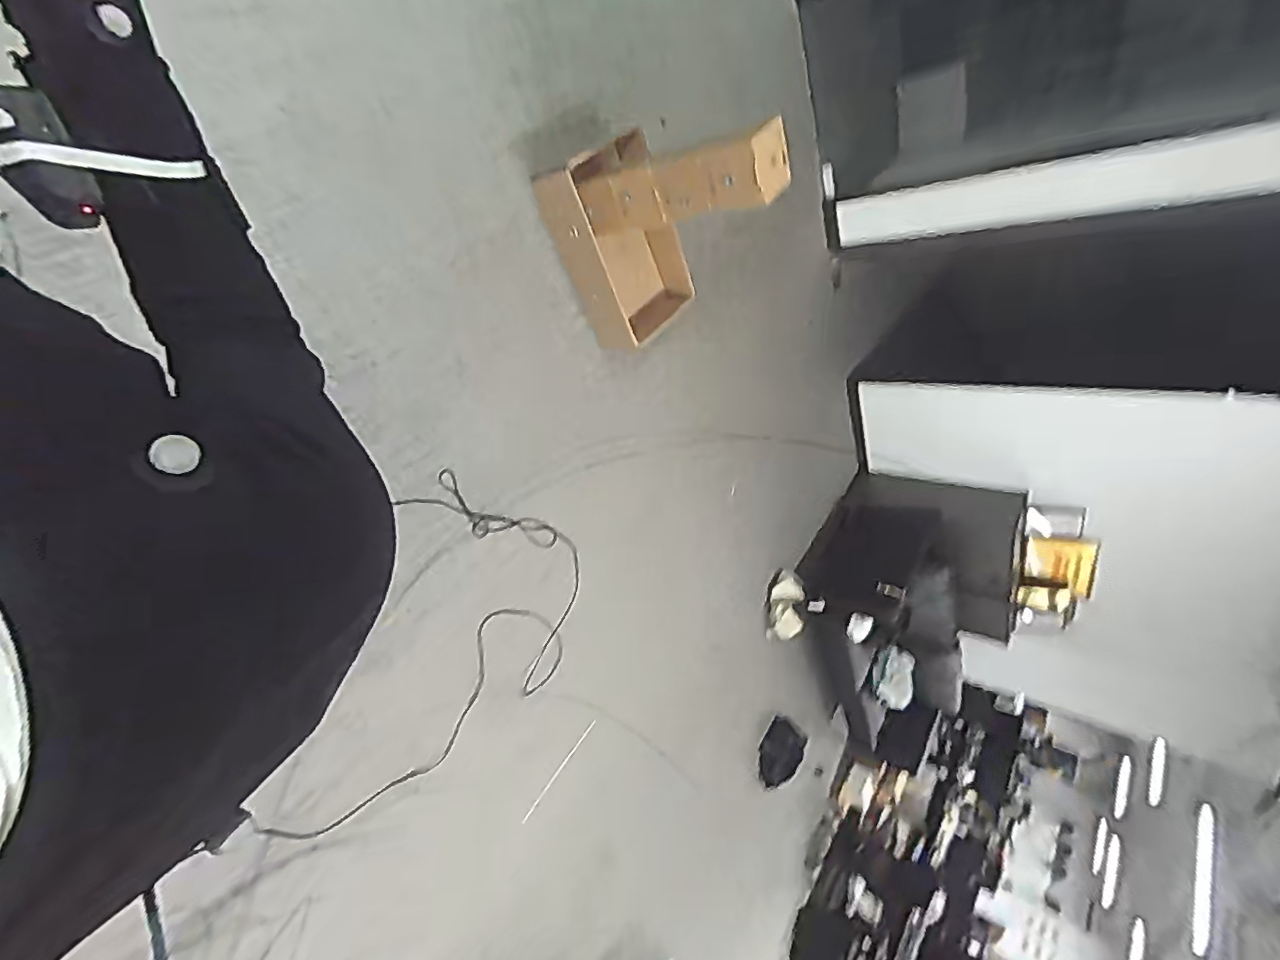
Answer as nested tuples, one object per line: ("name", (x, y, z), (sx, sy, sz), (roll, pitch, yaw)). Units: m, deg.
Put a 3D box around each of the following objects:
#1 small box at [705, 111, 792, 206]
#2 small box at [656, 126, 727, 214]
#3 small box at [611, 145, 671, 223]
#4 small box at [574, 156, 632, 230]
("small box", (0.292, -0.873, 1.482), (0.179, 0.176, 0.168), (-50, 135, -28))
("small box", (0.166, -0.900, 1.582), (0.179, 0.176, 0.168), (-51, 135, -29))
("small box", (0.039, -0.923, 1.684), (0.179, 0.176, 0.168), (-49, 133, -30))
("small box", (-0.085, -0.949, 1.785), (0.179, 0.176, 0.168), (-48, 132, -31))
